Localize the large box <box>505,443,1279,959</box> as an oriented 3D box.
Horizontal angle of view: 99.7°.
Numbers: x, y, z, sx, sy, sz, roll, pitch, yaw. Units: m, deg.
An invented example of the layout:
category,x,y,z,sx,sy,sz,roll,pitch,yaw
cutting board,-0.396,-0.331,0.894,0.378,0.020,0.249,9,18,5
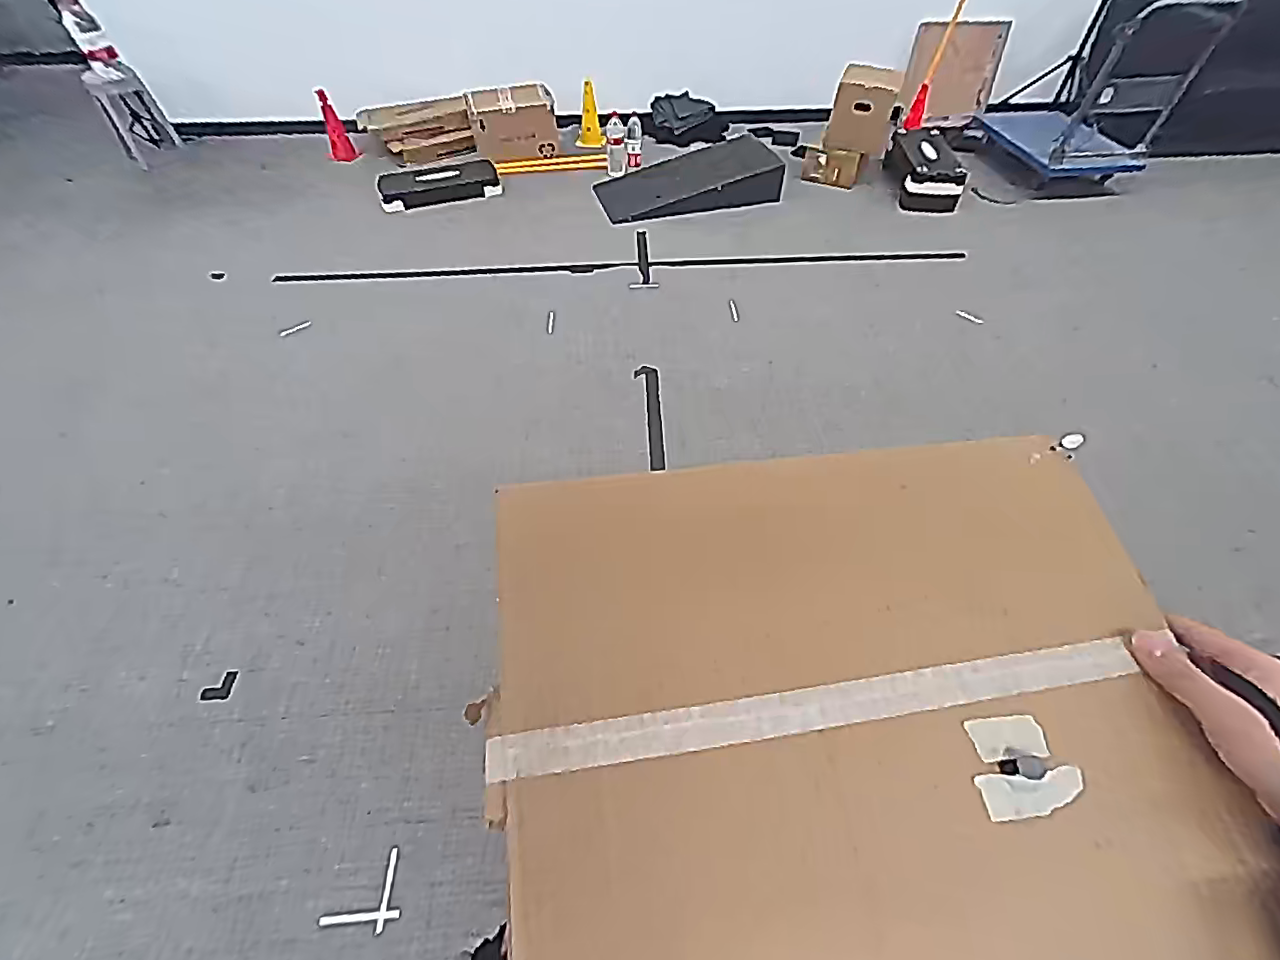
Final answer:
category,x,y,z,sx,sy,sz,roll,pitch,yaw
large box,0.116,0.196,0.447,0.408,0.320,0.320,-6,63,-9
